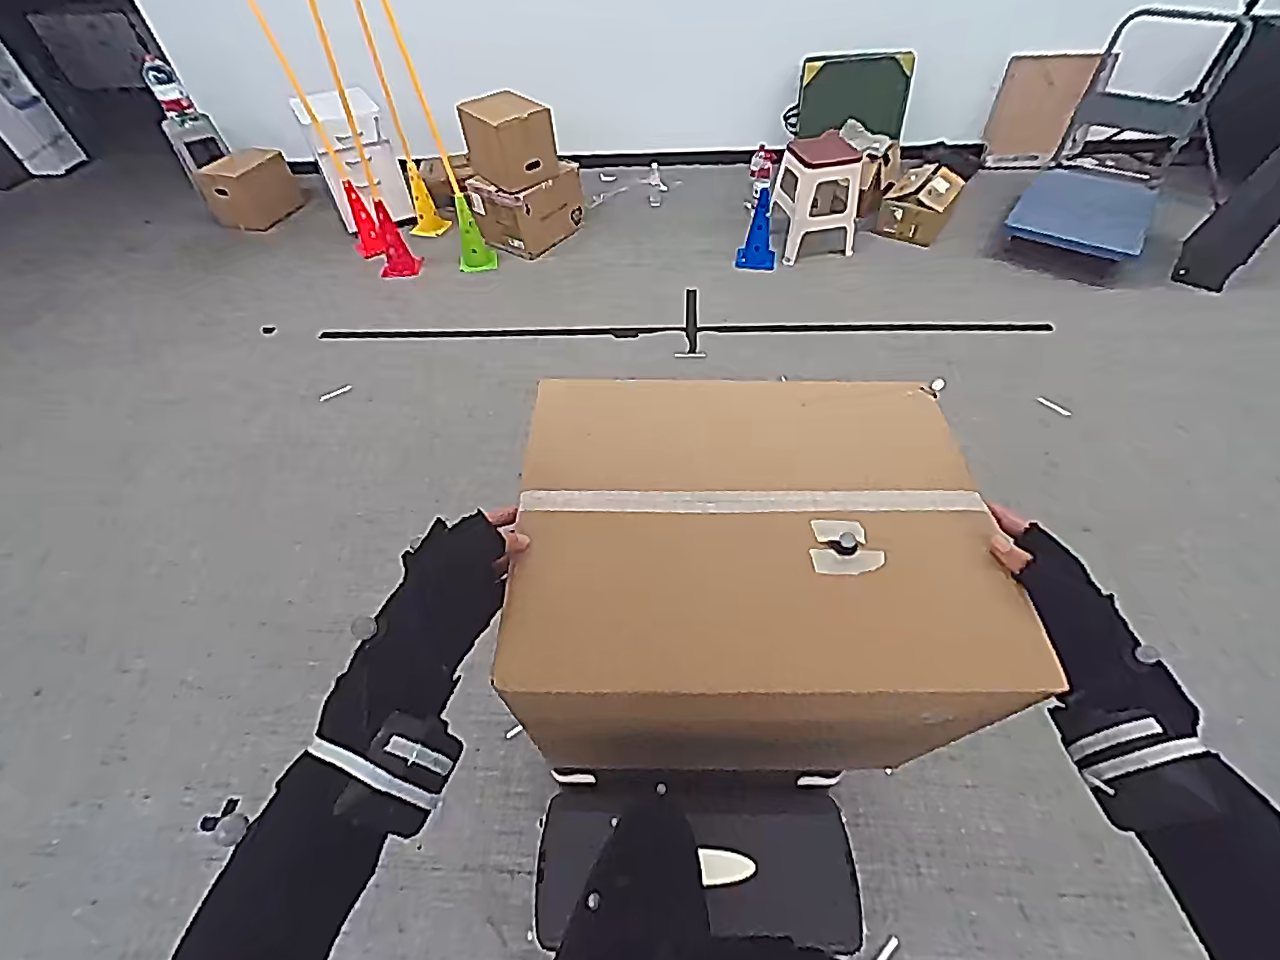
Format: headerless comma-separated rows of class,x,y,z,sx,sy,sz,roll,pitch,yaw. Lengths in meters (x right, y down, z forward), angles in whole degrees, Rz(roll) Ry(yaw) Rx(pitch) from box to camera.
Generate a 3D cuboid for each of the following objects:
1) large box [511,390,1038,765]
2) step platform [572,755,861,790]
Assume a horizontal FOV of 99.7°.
large box,0.095,0.116,0.605,0.408,0.320,0.320,0,53,-1
step platform,0.170,0.577,1.323,0.684,0.204,0.286,-1,50,1
